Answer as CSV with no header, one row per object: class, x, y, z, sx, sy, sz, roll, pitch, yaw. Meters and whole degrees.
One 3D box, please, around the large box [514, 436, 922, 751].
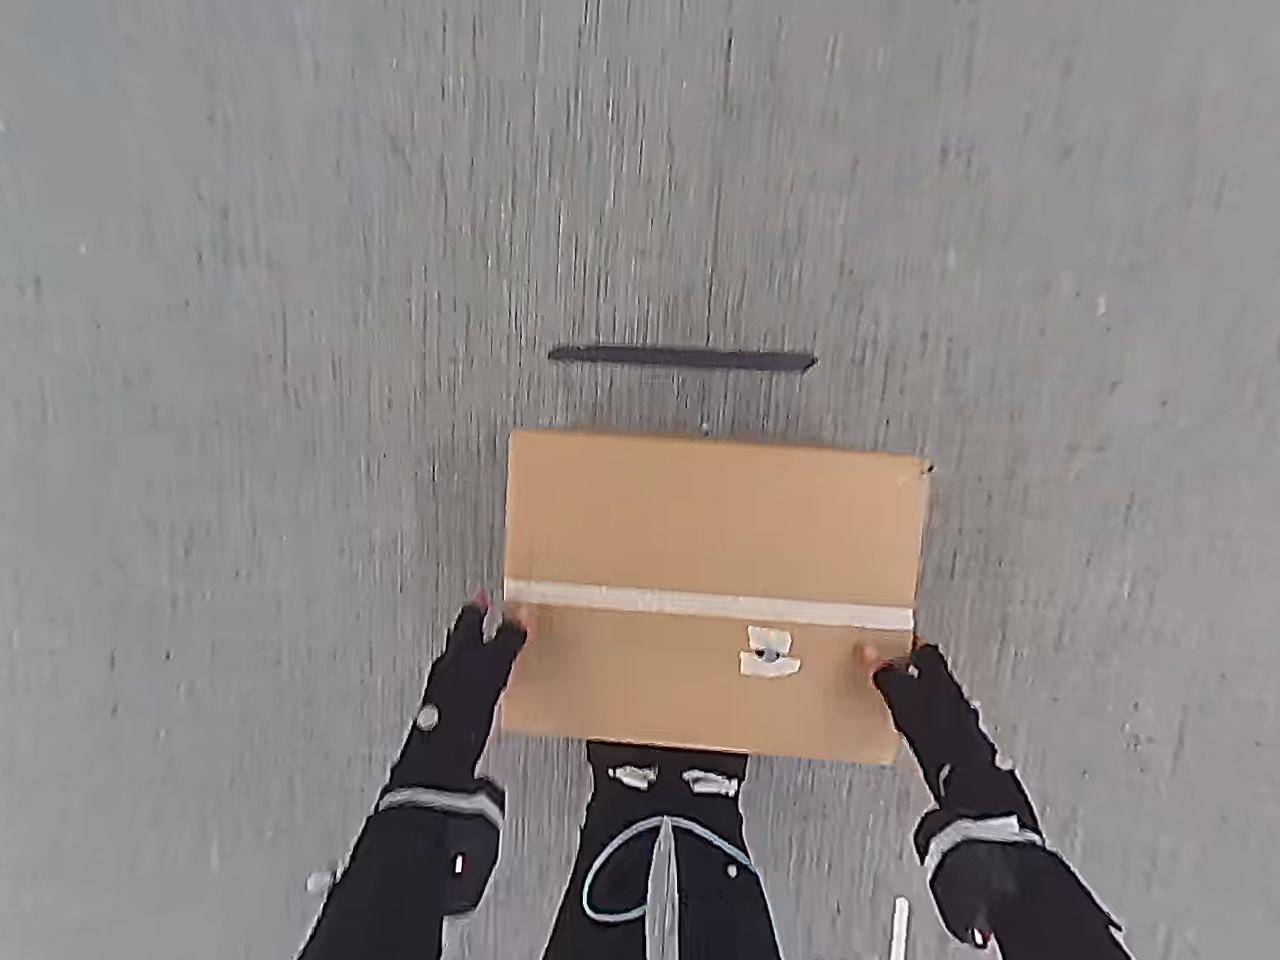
large box,0.075,0.104,0.696,0.408,0.320,0.320,4,97,2
